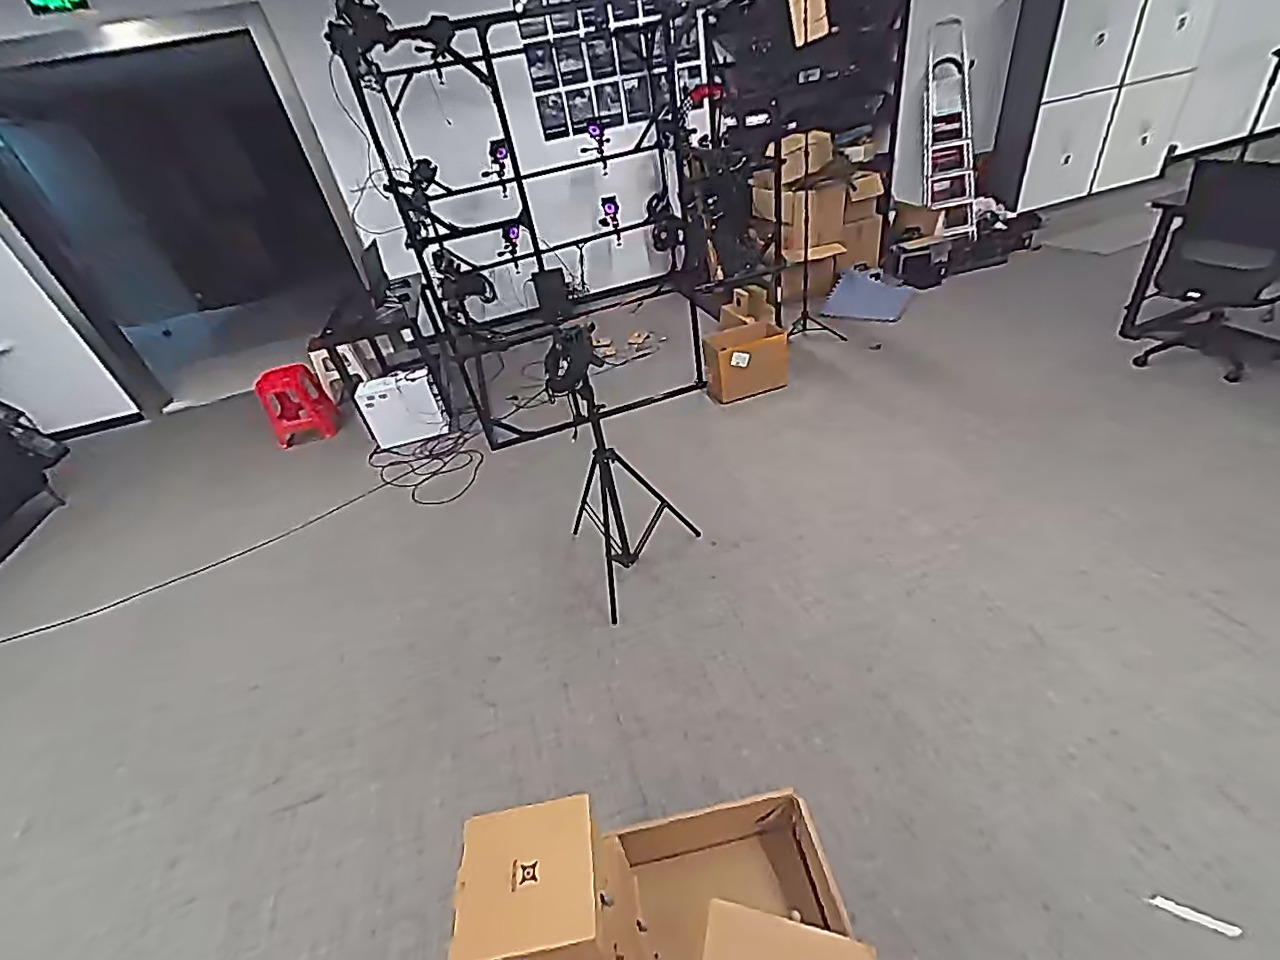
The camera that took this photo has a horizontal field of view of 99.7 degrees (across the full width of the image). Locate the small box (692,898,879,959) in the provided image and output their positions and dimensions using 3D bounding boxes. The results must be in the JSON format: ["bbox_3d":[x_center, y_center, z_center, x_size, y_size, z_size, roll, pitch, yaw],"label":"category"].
[{"bbox_3d":[0.141,0.577,0.577,0.179,0.176,0.168,10,48,10],"label":"small box"}]

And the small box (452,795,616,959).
[{"bbox_3d":[-0.131,0.562,0.727,0.179,0.176,0.168,-11,35,-2],"label":"small box"}]

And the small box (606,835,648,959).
[{"bbox_3d":[-0.083,0.689,0.821,0.168,0.176,0.179,-13,34,-4],"label":"small box"}]
